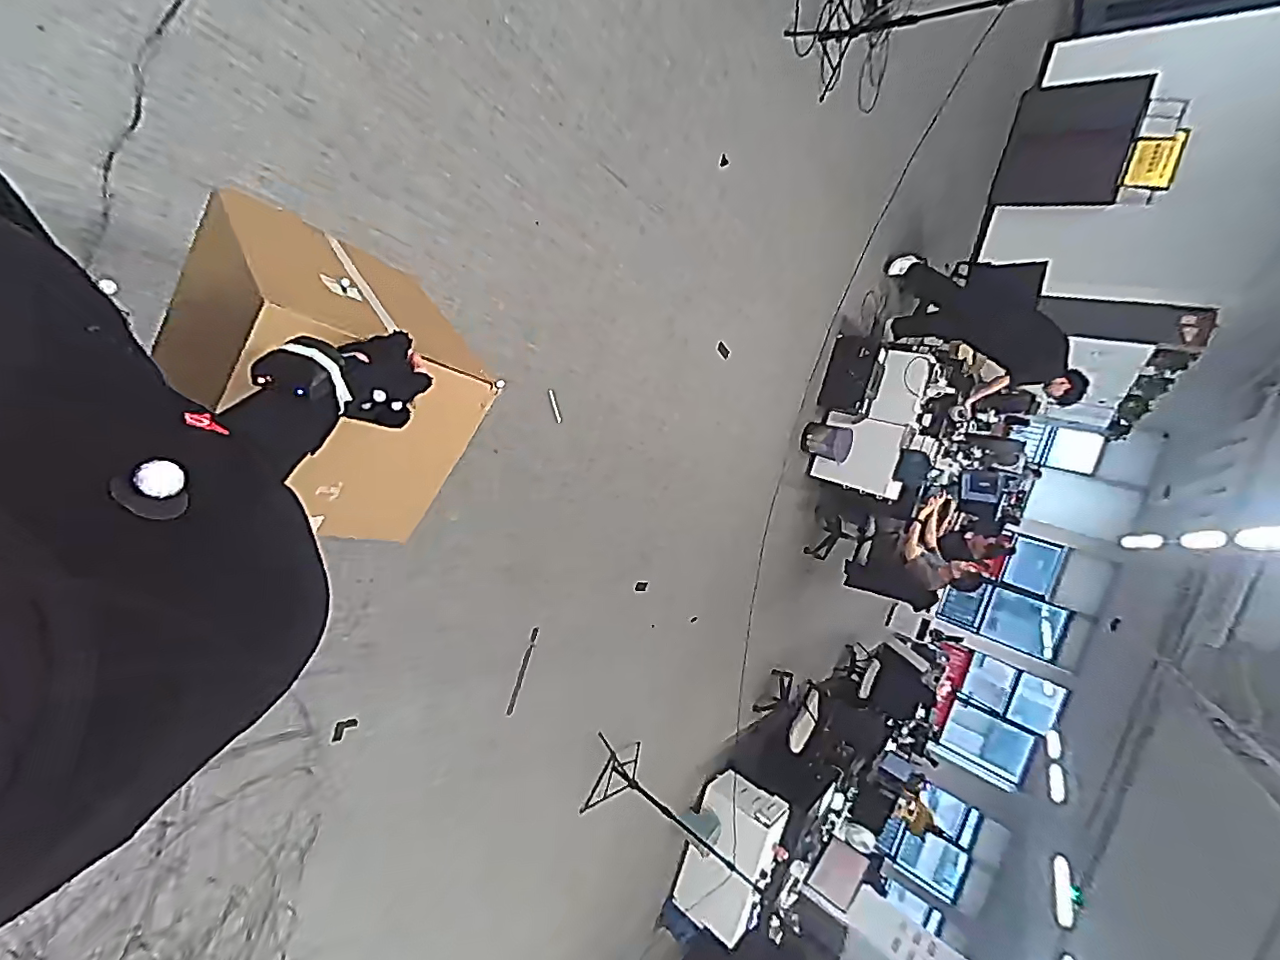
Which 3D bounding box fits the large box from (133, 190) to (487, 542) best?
[{"bbox_3d":[-0.515,-0.157,0.831,0.320,0.408,0.320,13,118,-53],"label":"large box"}]
